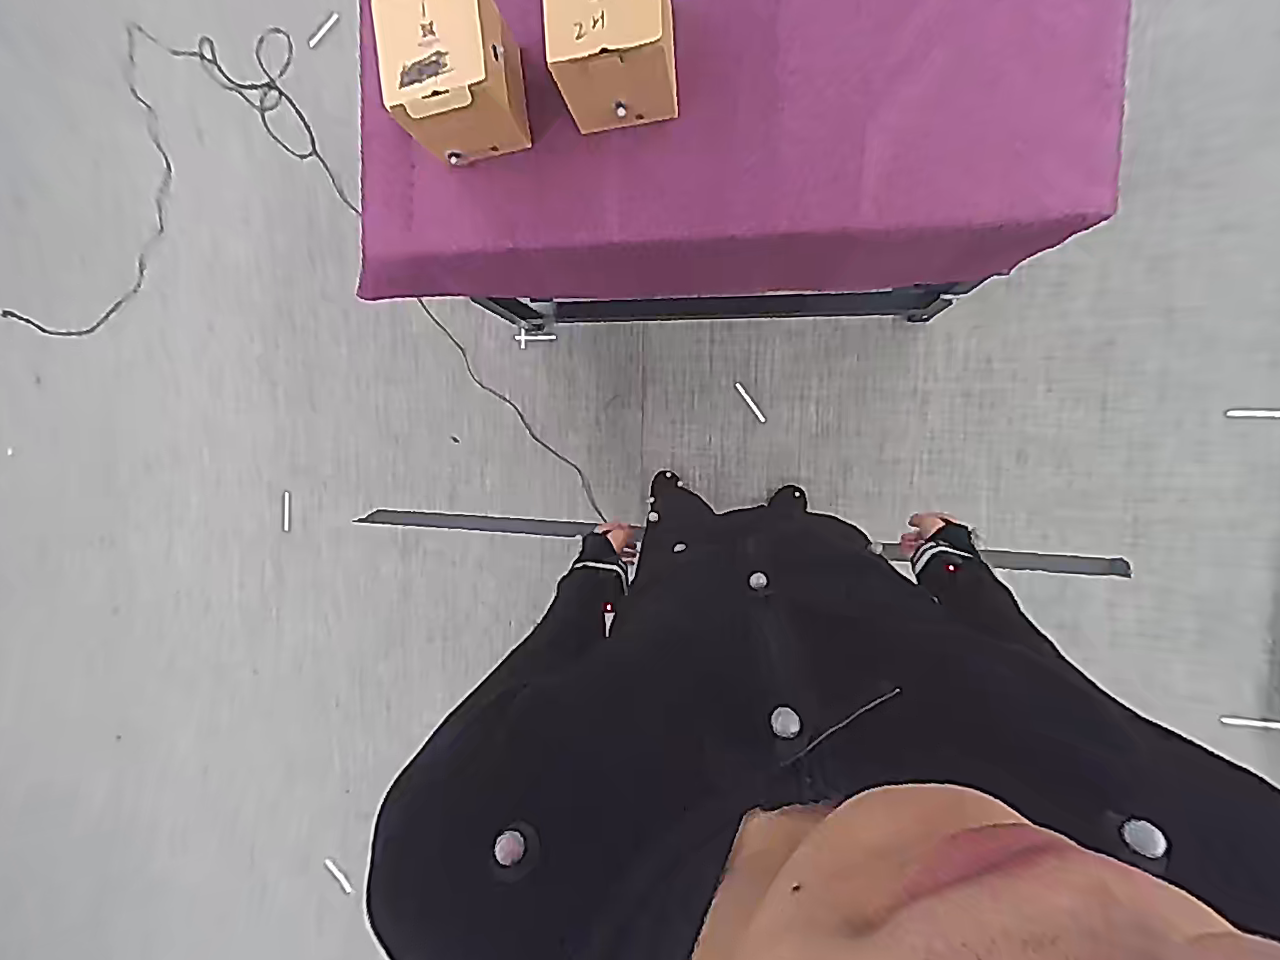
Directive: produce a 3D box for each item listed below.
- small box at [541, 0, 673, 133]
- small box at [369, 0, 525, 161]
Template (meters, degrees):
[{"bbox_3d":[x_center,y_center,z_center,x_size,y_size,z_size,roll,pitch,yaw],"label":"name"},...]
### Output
[{"bbox_3d":[-0.043,-0.667,0.813,0.168,0.176,0.179,-3,92,11],"label":"small box"},{"bbox_3d":[-0.295,-0.640,0.860,0.168,0.176,0.179,-7,91,10],"label":"small box"}]
